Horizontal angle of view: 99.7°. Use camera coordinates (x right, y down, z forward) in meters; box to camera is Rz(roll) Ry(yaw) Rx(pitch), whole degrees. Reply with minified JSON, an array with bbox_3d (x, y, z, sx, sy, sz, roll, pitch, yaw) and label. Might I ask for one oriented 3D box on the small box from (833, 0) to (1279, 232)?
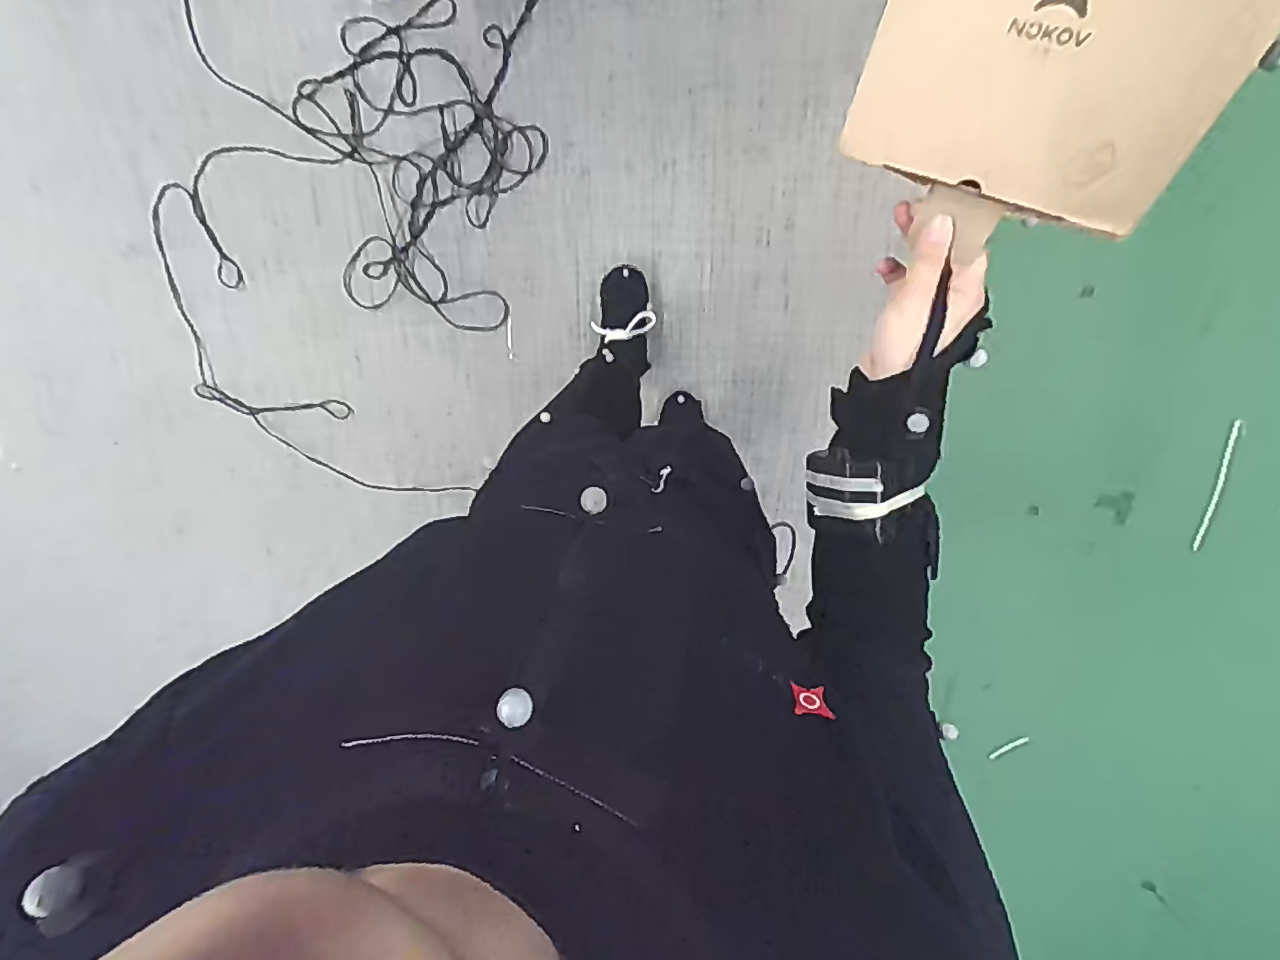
[{"bbox_3d":[0.242,-0.266,0.301,0.168,0.176,0.179,32,134,20],"label":"small box"}]
